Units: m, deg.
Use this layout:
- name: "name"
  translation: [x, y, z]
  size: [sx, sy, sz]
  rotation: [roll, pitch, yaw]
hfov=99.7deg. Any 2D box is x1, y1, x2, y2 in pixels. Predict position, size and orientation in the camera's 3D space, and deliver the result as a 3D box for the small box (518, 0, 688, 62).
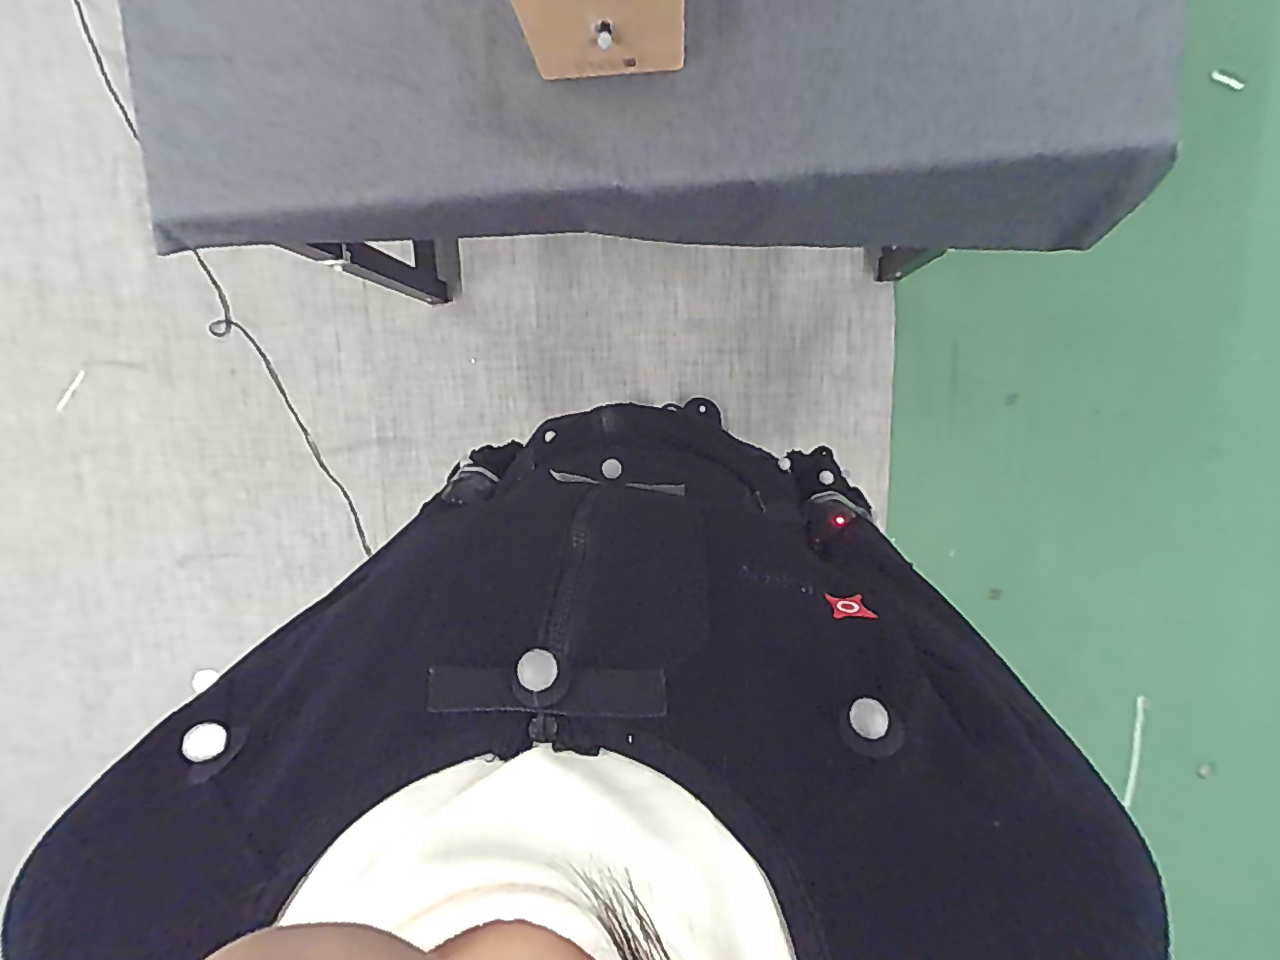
- name: "small box"
  translation: [-0.038, -0.548, 0.530]
  size: [0.168, 0.176, 0.179]
  rotation: [-2, 99, 6]
